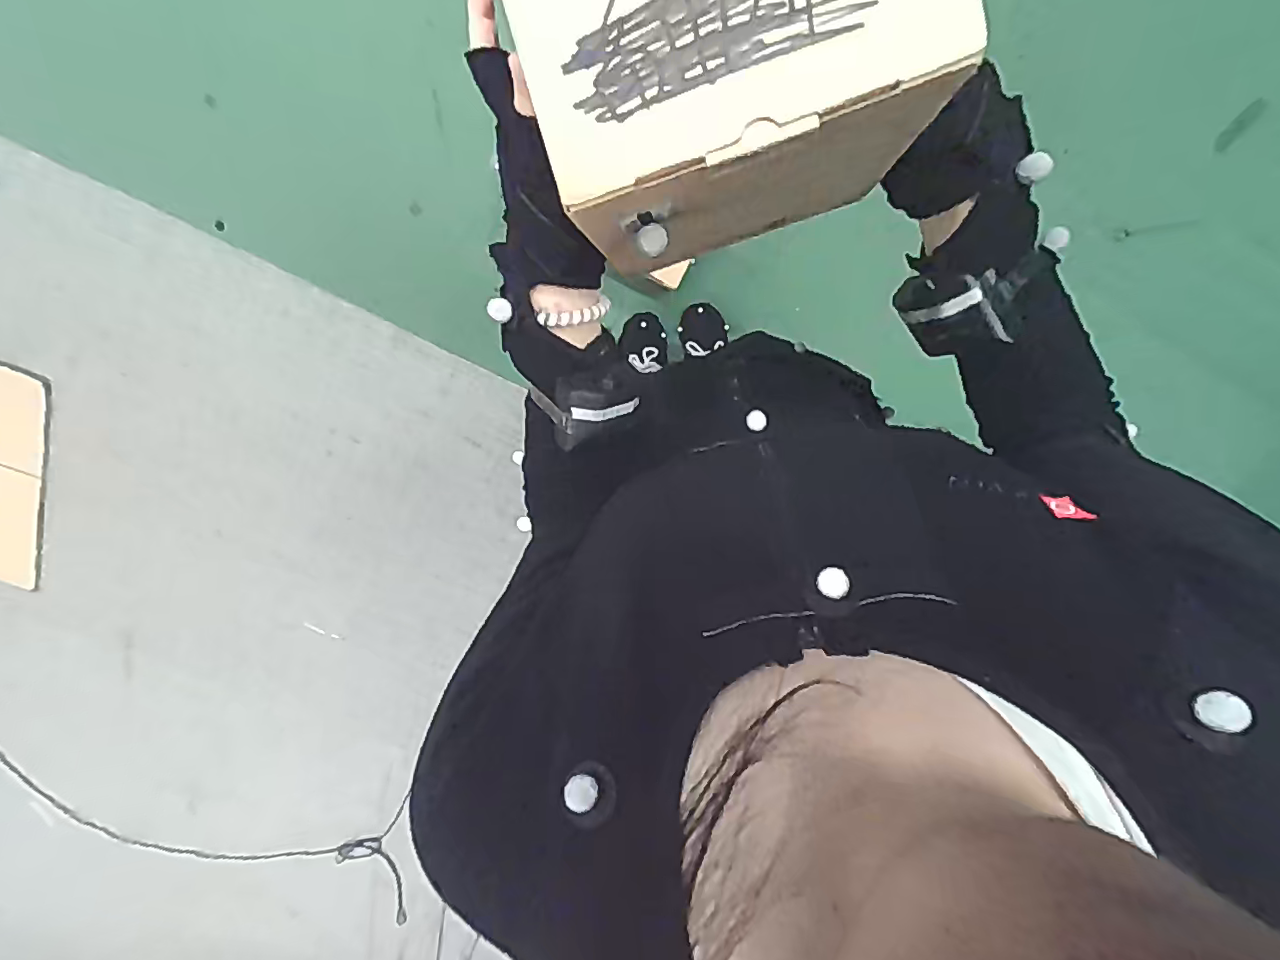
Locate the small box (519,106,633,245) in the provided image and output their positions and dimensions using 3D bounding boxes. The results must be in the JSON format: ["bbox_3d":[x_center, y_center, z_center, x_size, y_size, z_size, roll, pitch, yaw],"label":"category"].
[{"bbox_3d":[-0.121,-0.586,1.068,0.168,0.176,0.179,21,109,-7],"label":"small box"}]
